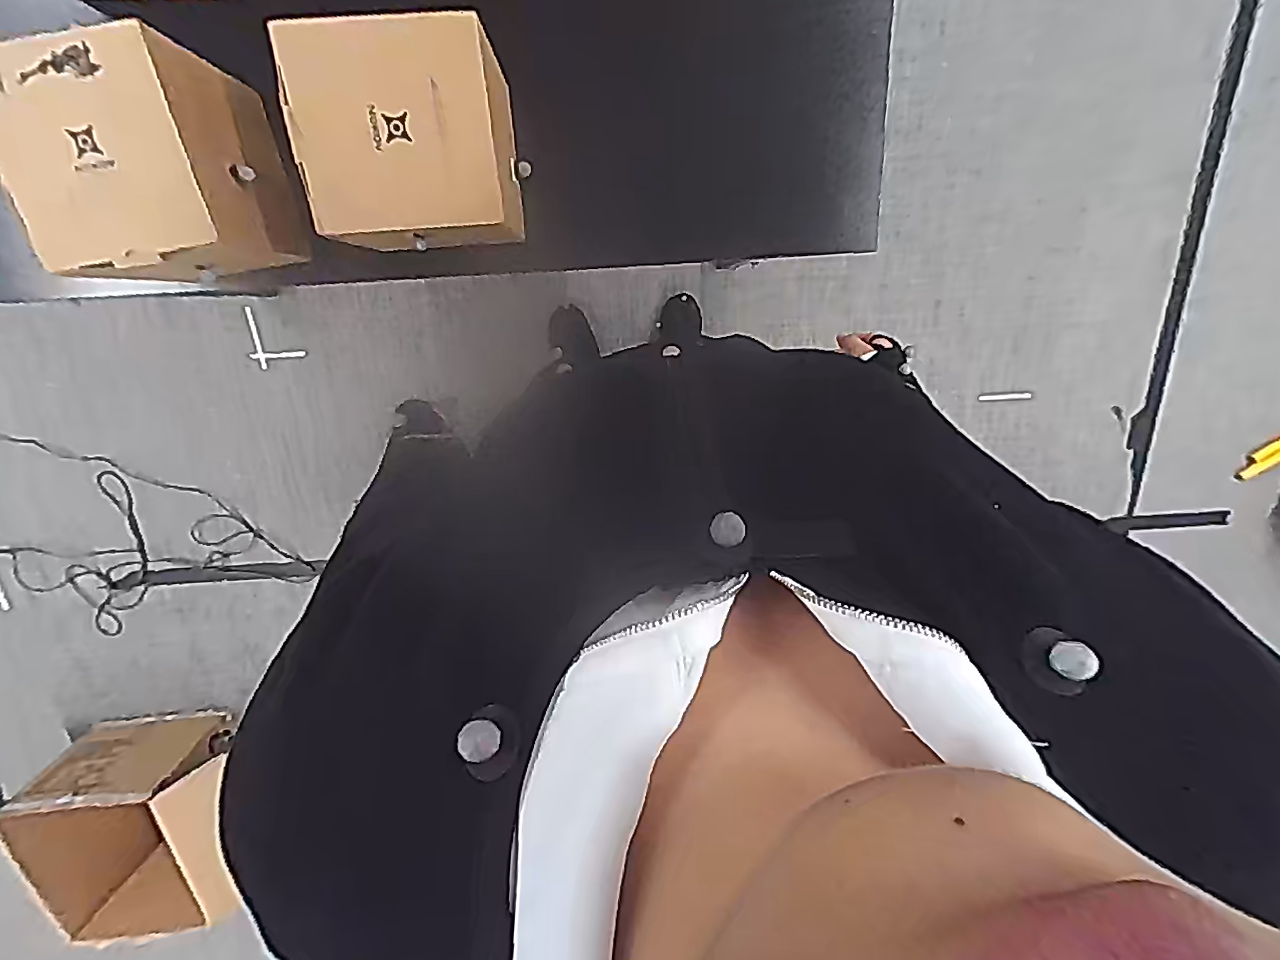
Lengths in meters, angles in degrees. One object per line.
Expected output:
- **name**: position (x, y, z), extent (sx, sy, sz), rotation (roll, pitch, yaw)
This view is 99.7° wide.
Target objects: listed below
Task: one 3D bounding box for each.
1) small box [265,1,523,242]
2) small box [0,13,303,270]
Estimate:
- **small box**: position (-0.227, -0.343, 0.552), extent (0.179, 0.176, 0.168), rotation (-6, 109, -3)
- **small box**: position (-0.482, -0.314, 0.543), extent (0.168, 0.176, 0.179), rotation (-10, 109, 0)
